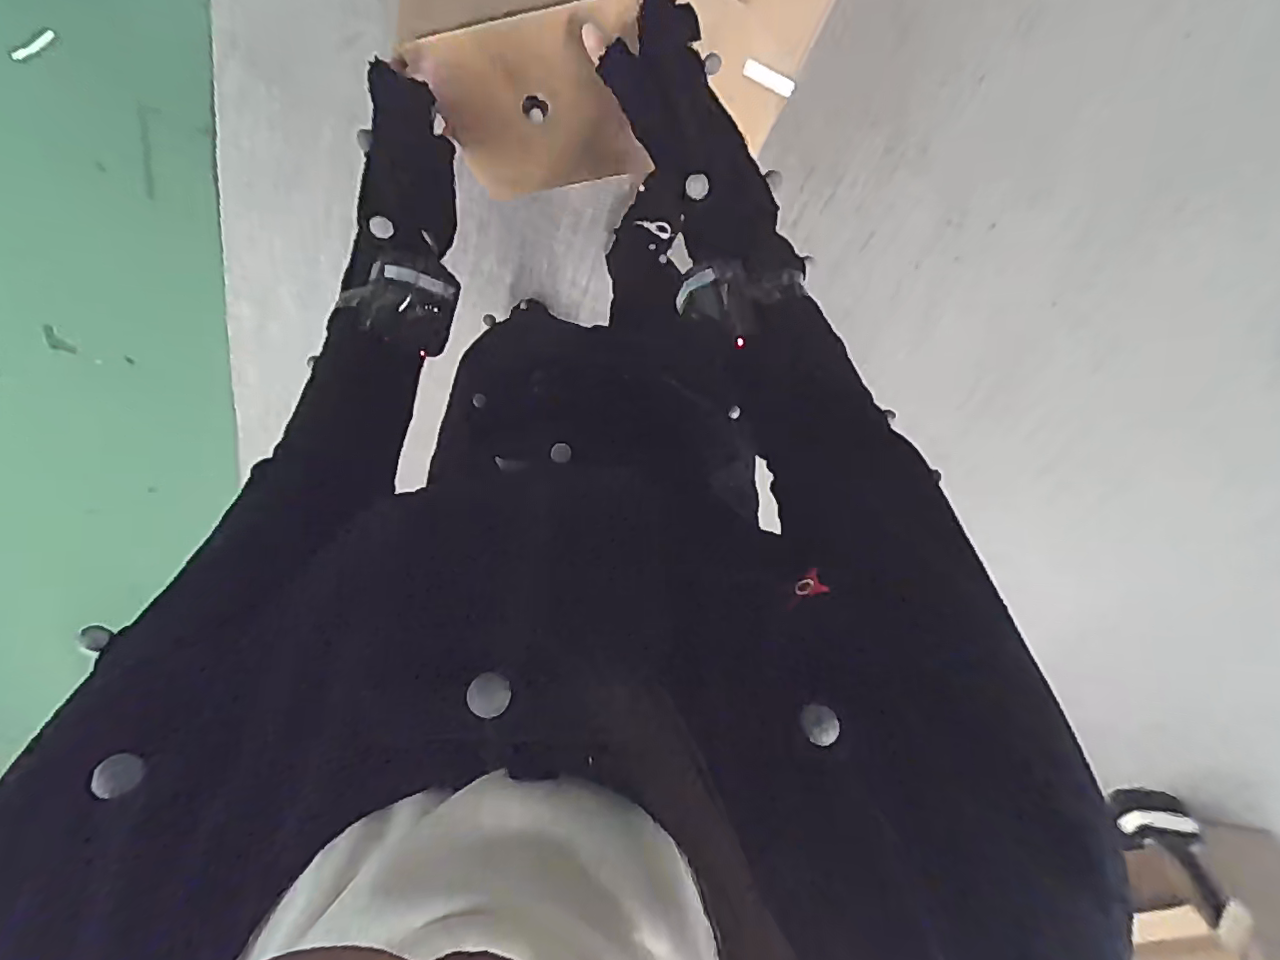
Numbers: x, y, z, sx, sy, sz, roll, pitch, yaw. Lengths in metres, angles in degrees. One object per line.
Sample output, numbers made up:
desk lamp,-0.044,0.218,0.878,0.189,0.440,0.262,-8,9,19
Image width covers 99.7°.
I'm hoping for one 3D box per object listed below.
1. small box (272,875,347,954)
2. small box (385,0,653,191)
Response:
small box,-1.128,1.487,1.852,0.168,0.176,0.179,21,126,-10
small box,-0.087,-0.382,0.457,0.179,0.176,0.168,-6,81,11
